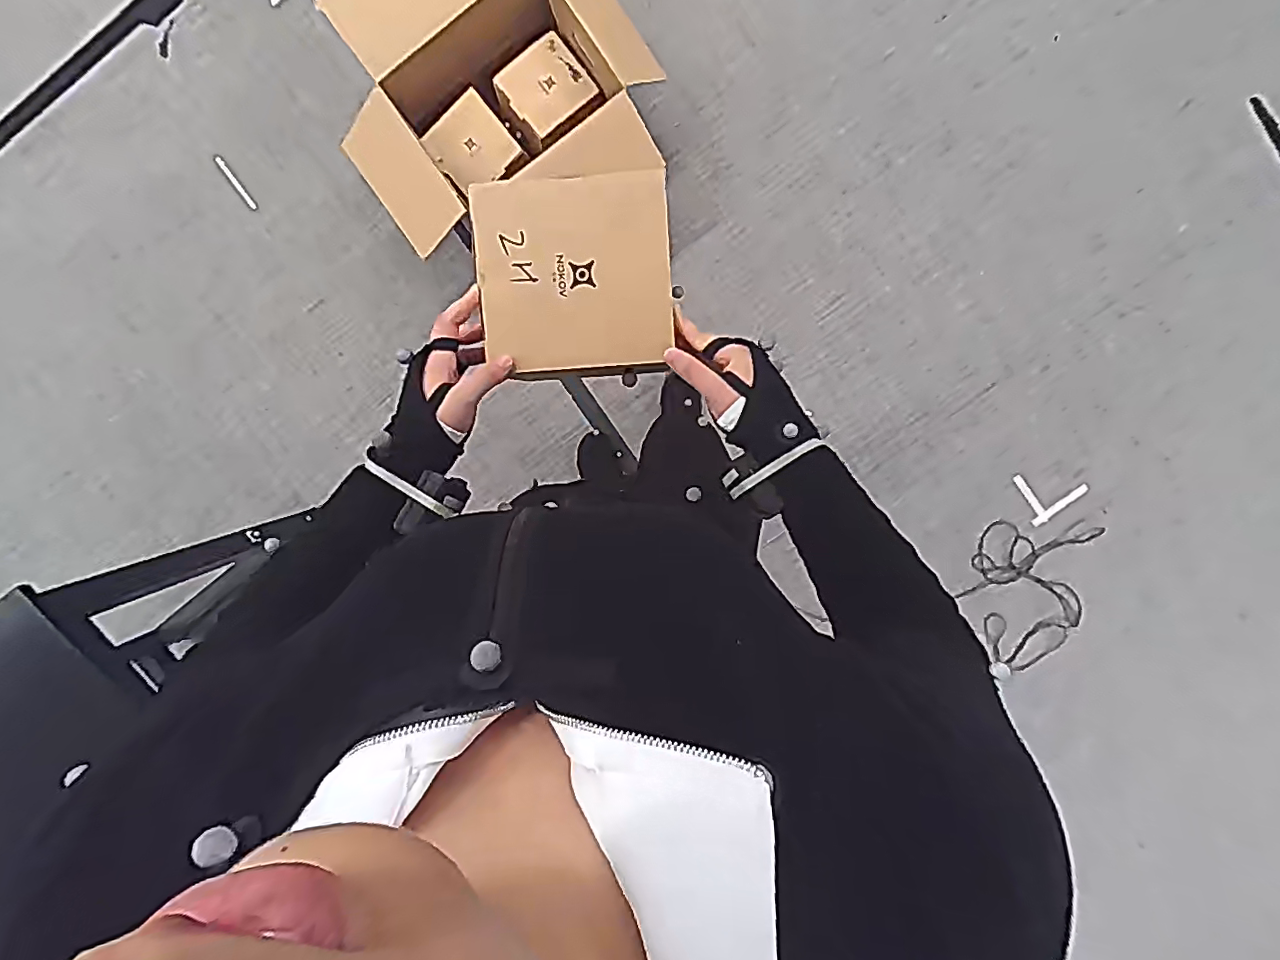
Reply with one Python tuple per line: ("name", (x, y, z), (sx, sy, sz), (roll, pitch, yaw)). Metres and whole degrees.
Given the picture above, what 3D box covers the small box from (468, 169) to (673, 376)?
("small box", (-0.060, -0.199, 0.565), (0.179, 0.176, 0.168), (-3, 98, 2))
